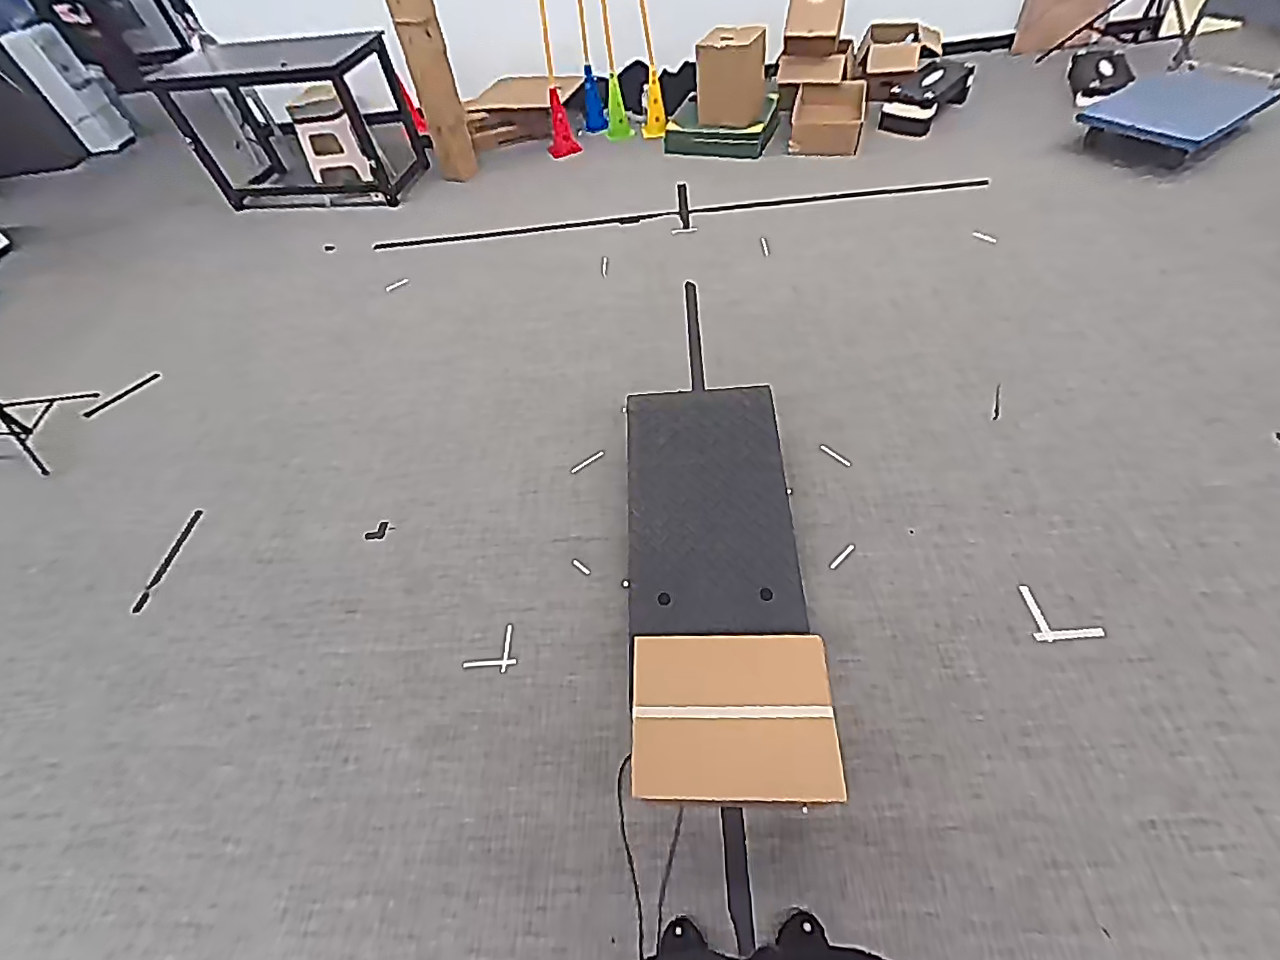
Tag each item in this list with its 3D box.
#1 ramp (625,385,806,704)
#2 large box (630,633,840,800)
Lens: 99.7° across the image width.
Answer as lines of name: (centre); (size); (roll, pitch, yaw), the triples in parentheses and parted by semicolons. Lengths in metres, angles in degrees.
ramp: (0.201, 0.135, 1.629); (0.509, 0.206, 0.991); (-4, 53, 2)
large box: (0.194, 0.549, 1.231); (0.408, 0.320, 0.320); (-2, 57, 5)
